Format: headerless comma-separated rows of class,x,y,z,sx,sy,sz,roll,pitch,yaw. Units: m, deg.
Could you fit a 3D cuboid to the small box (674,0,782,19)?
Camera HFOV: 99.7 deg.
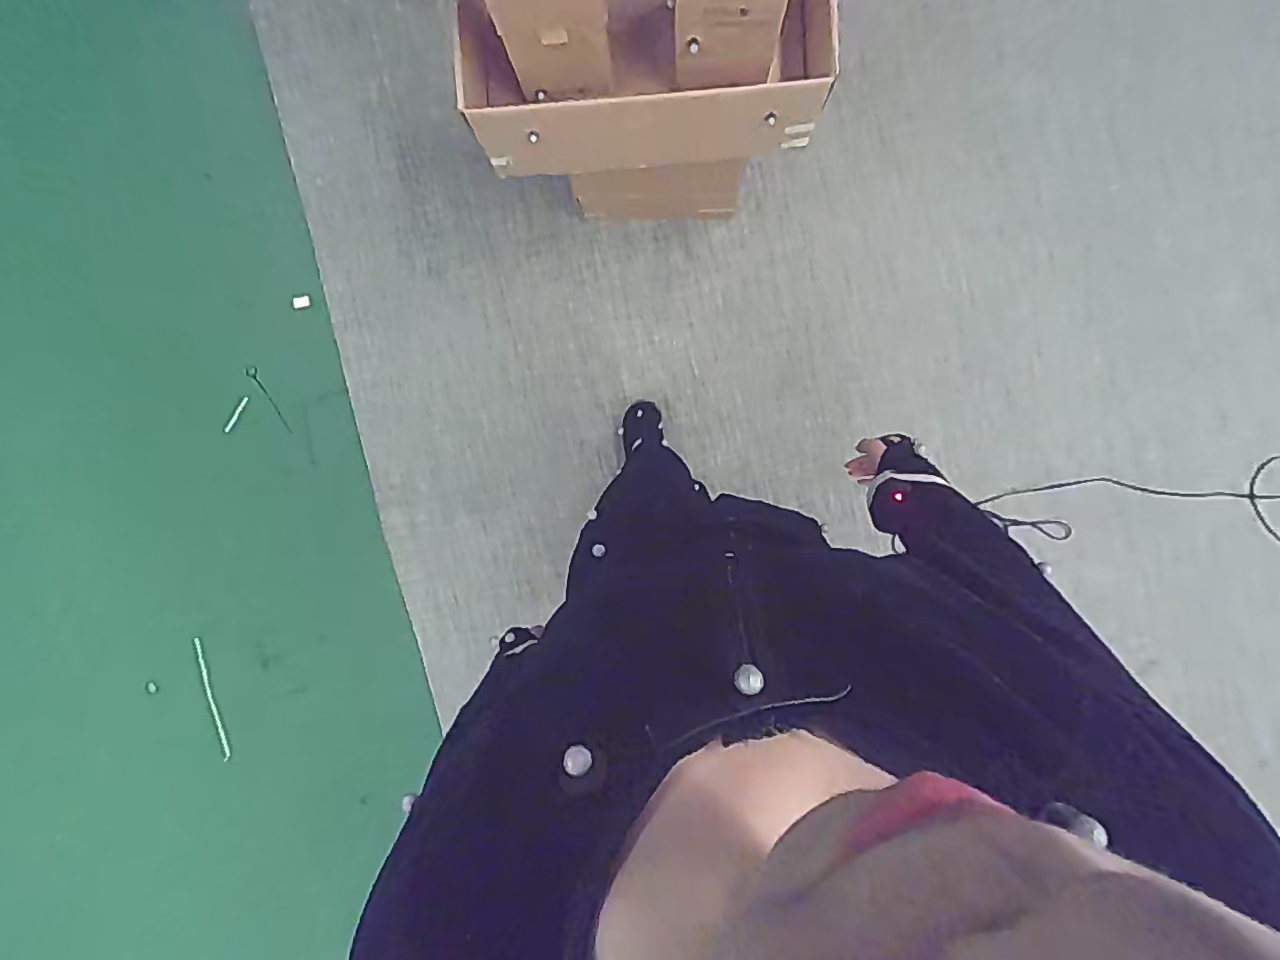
small box,0.129,-0.780,0.738,0.168,0.176,0.179,4,93,2

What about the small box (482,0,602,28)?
small box,-0.152,-0.777,0.753,0.179,0.176,0.168,-4,93,1
